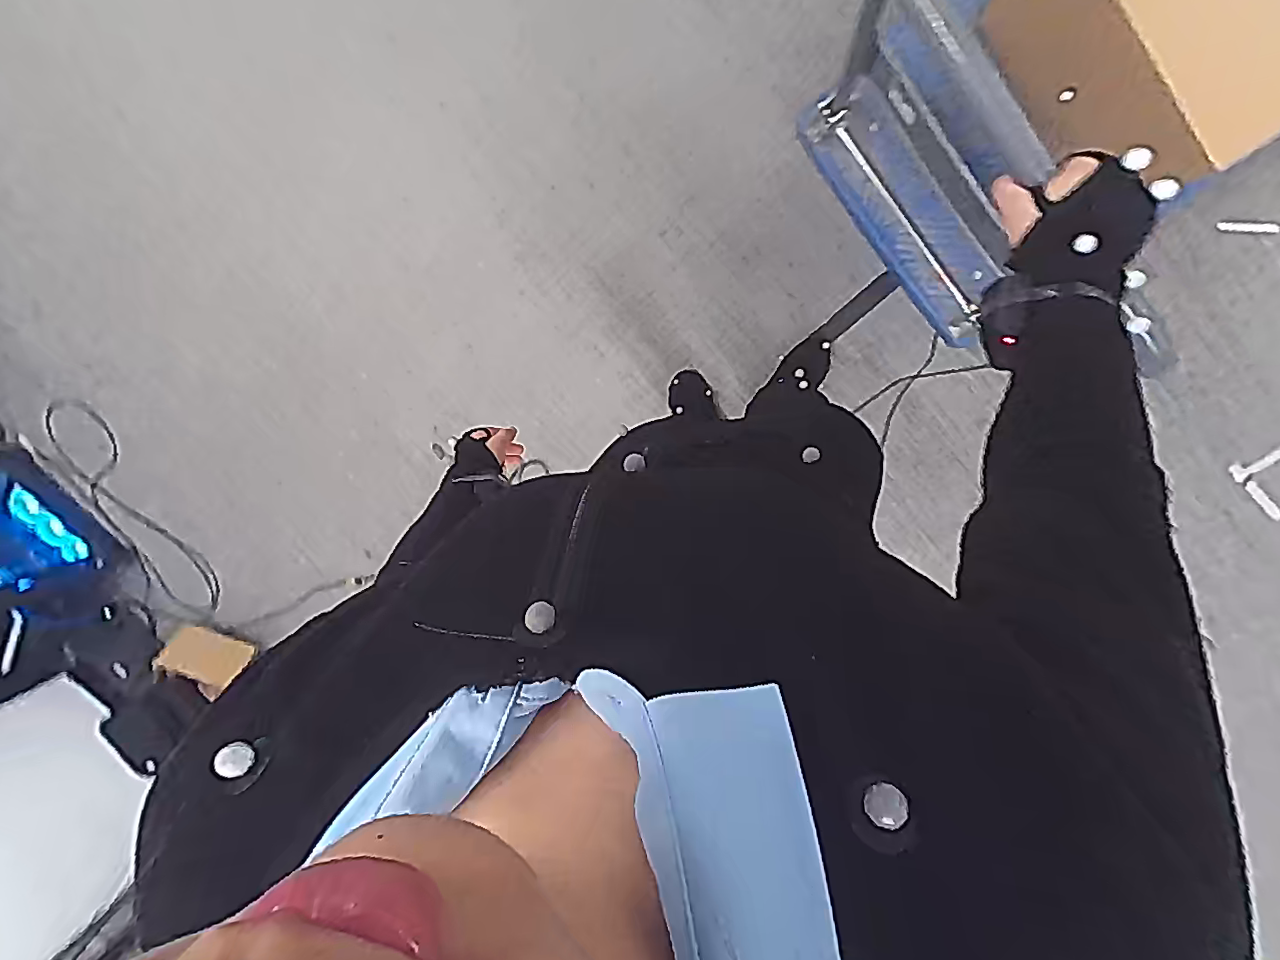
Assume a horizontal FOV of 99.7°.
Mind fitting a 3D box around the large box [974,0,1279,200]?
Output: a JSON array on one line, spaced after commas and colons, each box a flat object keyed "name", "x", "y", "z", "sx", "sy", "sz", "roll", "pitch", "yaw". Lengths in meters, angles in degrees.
[{"name": "large box", "x": 0.786, "y": -0.702, "z": 0.781, "sx": 0.320, "sy": 0.320, "sz": 0.408, "roll": -36, "pitch": 96, "yaw": 19}]
